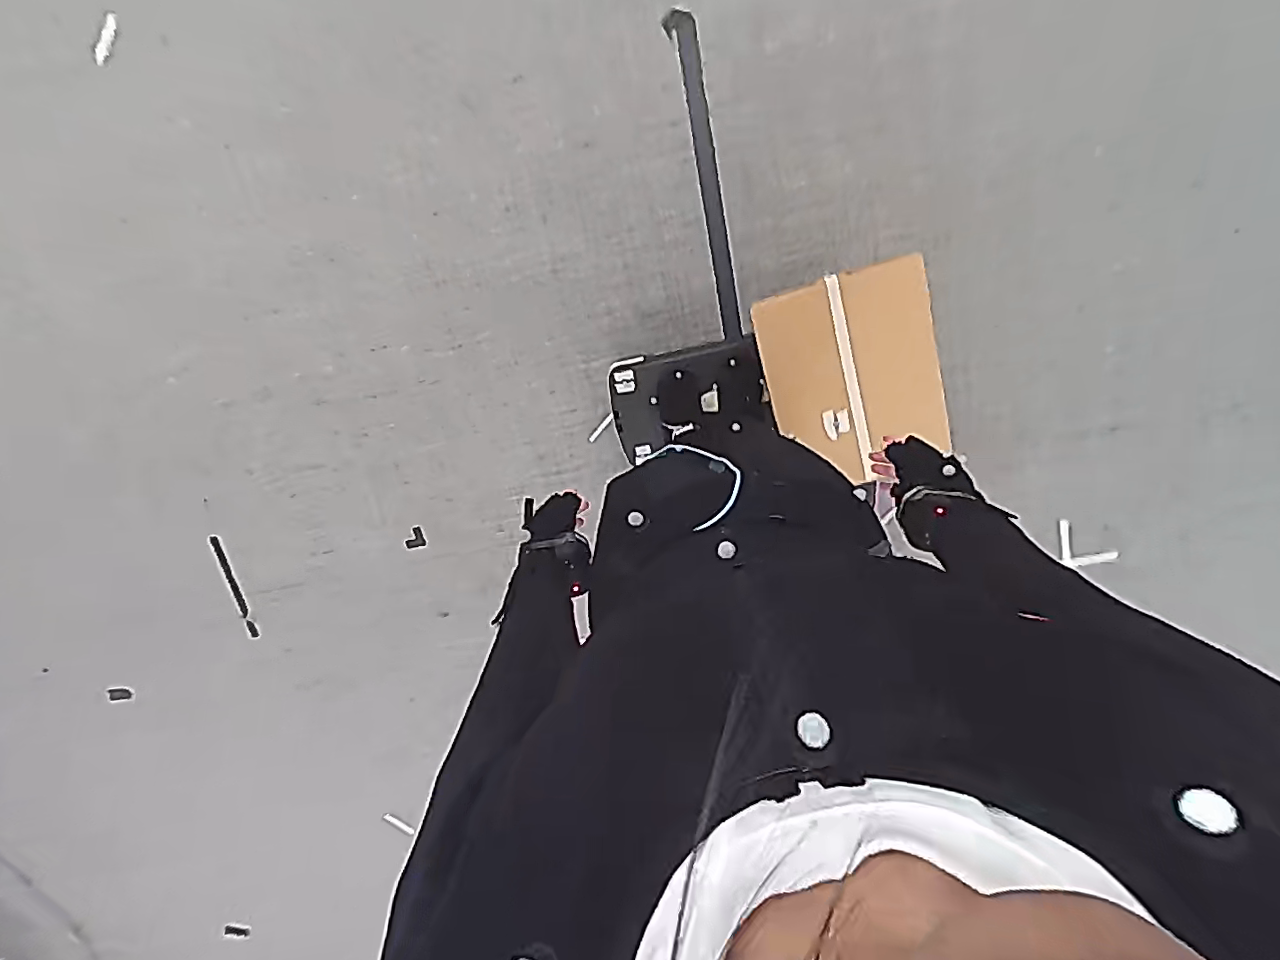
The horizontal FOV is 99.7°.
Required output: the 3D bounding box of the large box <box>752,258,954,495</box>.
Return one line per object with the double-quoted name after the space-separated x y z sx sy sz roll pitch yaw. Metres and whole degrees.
0.446 -0.232 1.196 0.320 0.320 0.408 -13 106 16 "large box"
